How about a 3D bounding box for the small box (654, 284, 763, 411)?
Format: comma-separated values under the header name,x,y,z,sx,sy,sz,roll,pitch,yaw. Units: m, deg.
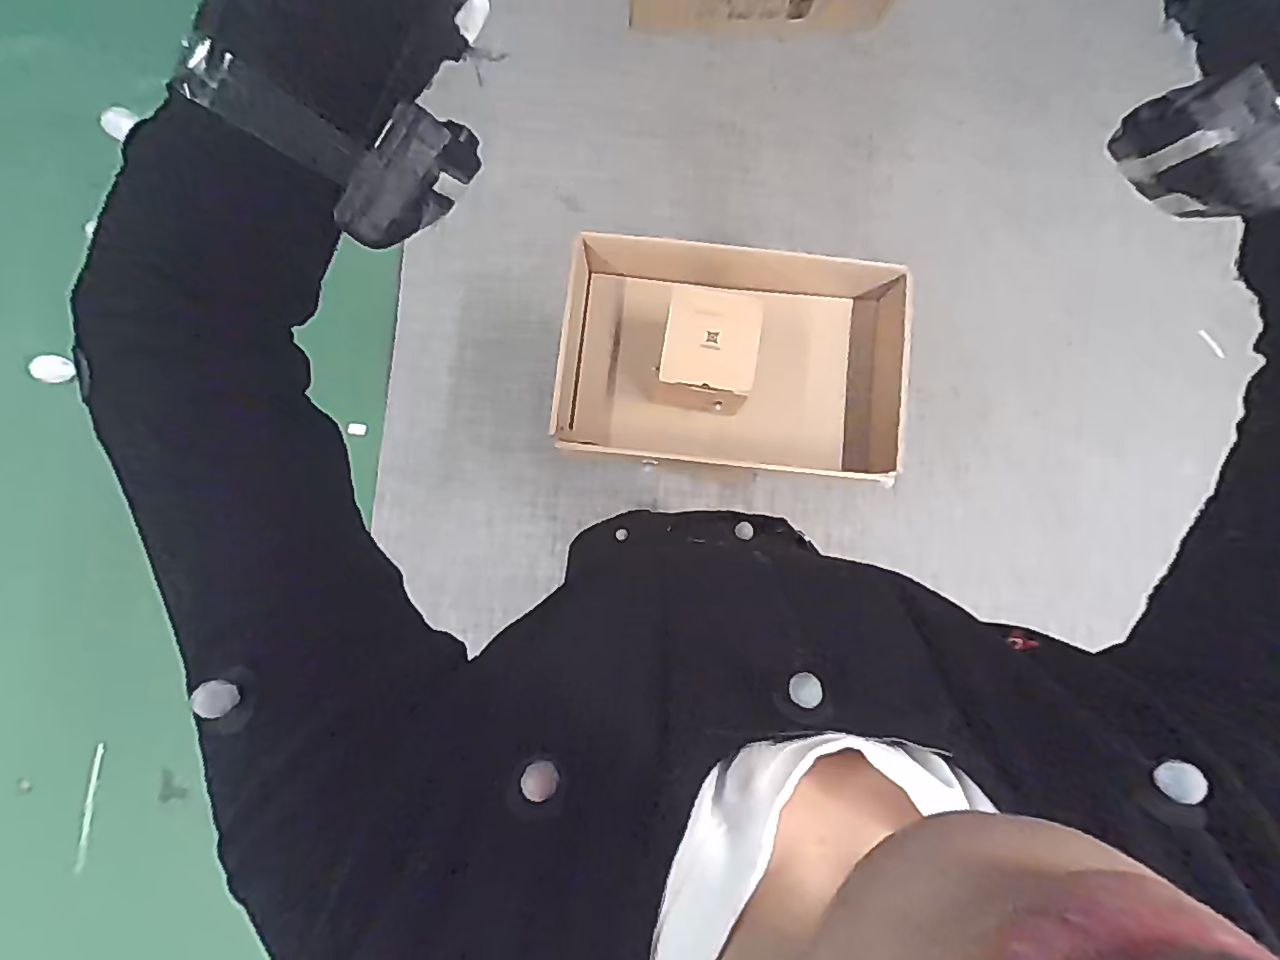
name,x,y,z,sx,sy,sz,roll,pitch,yaw
small box,0.120,-0.238,1.017,0.168,0.176,0.179,9,83,-2
